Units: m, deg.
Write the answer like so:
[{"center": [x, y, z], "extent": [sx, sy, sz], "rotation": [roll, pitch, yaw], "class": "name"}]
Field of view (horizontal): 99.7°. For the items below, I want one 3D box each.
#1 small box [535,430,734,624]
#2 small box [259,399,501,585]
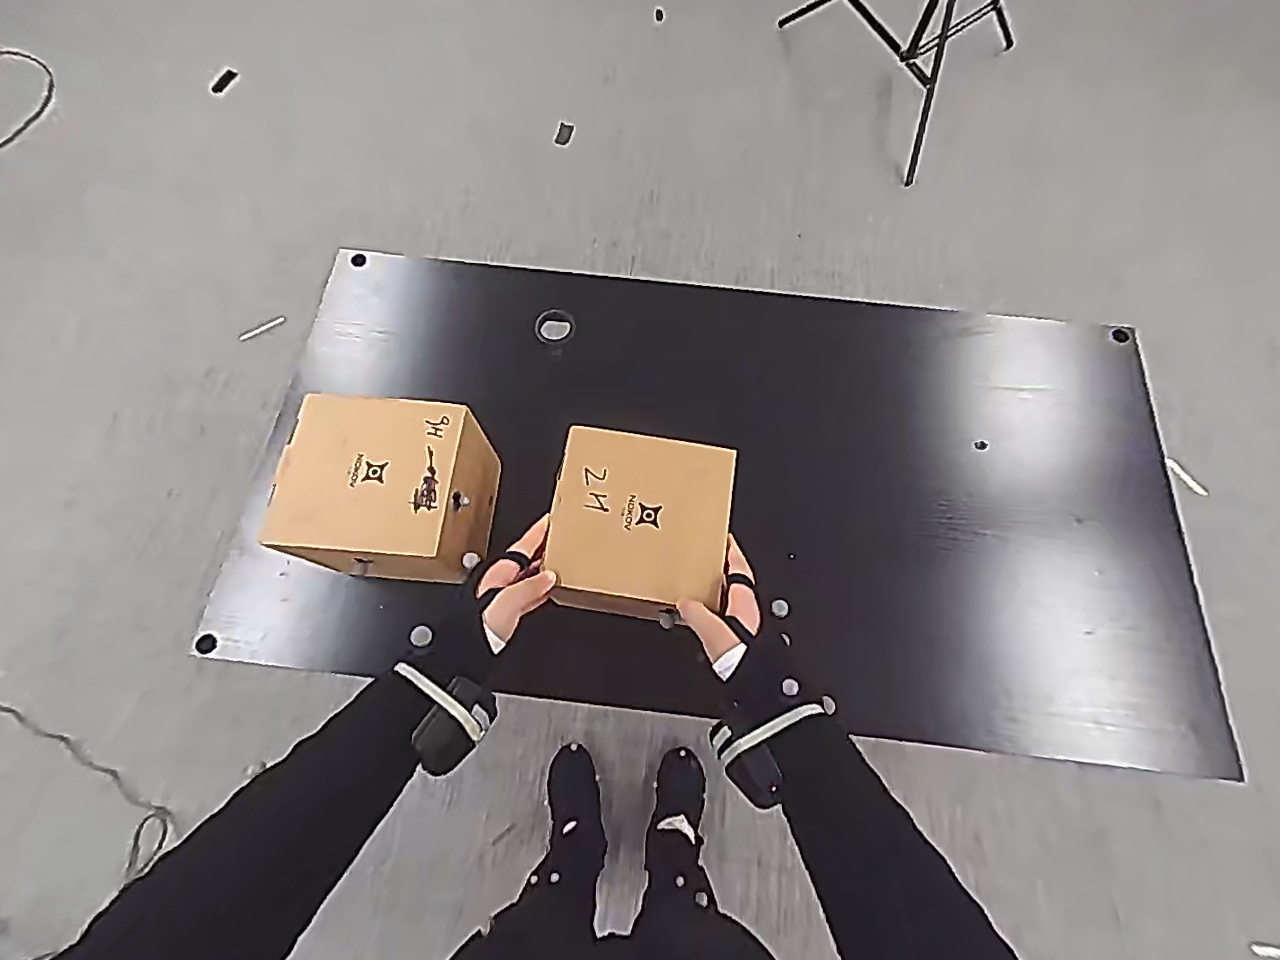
[{"center": [-0.003, 0.063, 0.607], "extent": [0.179, 0.176, 0.168], "rotation": [9, 70, 2], "class": "small box"}, {"center": [-0.276, 0.022, 0.620], "extent": [0.179, 0.176, 0.168], "rotation": [4, 70, 1], "class": "small box"}]
